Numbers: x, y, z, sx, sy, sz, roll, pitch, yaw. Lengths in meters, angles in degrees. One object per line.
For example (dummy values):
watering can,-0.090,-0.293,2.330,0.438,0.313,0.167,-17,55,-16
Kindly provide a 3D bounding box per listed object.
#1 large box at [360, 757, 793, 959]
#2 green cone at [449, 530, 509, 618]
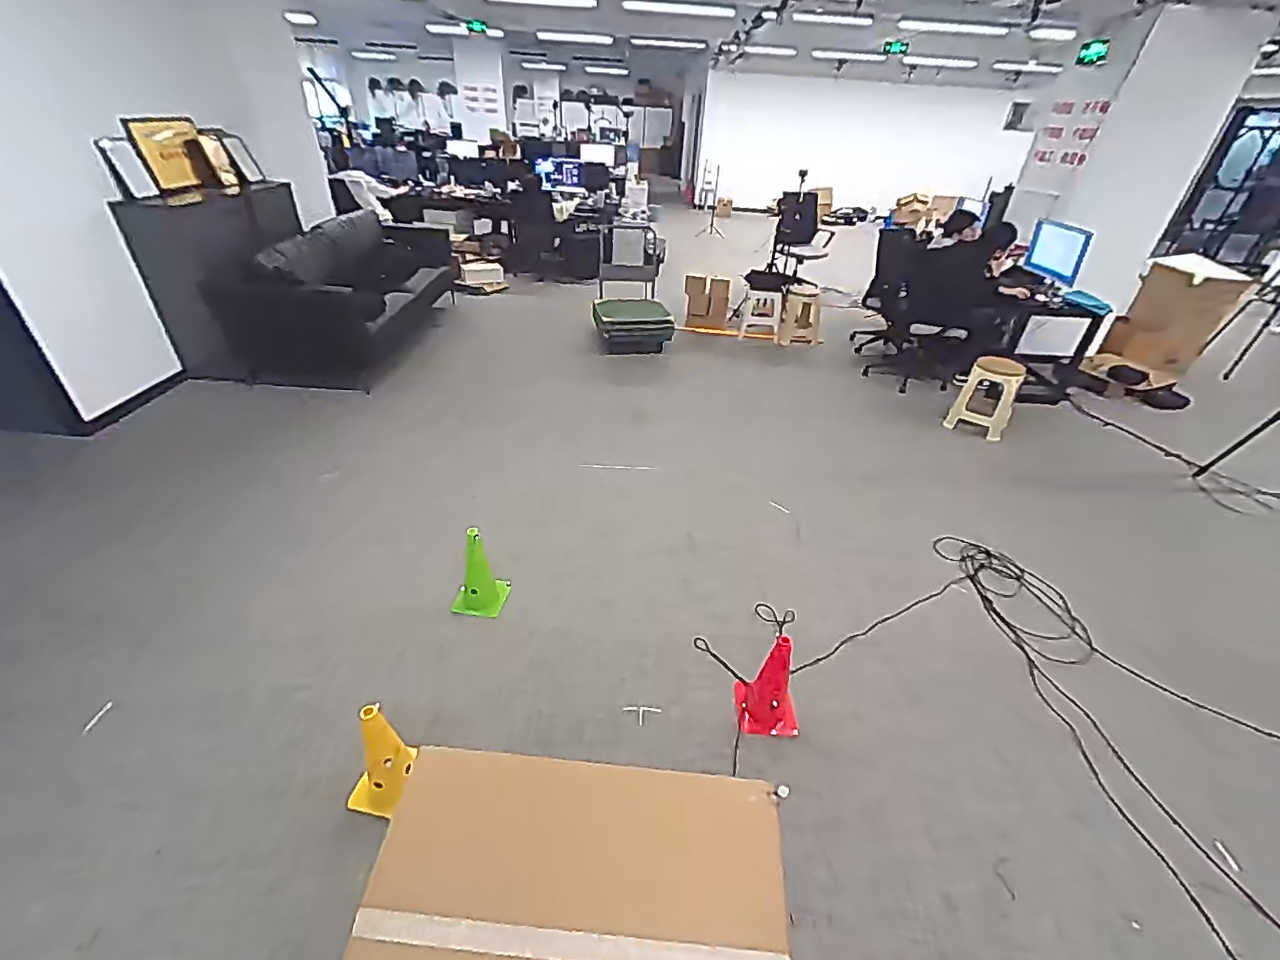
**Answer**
large box,-0.062,0.541,0.605,0.408,0.320,0.320,4,45,2
green cone,-0.654,0.343,2.131,0.200,0.368,0.202,6,36,4
